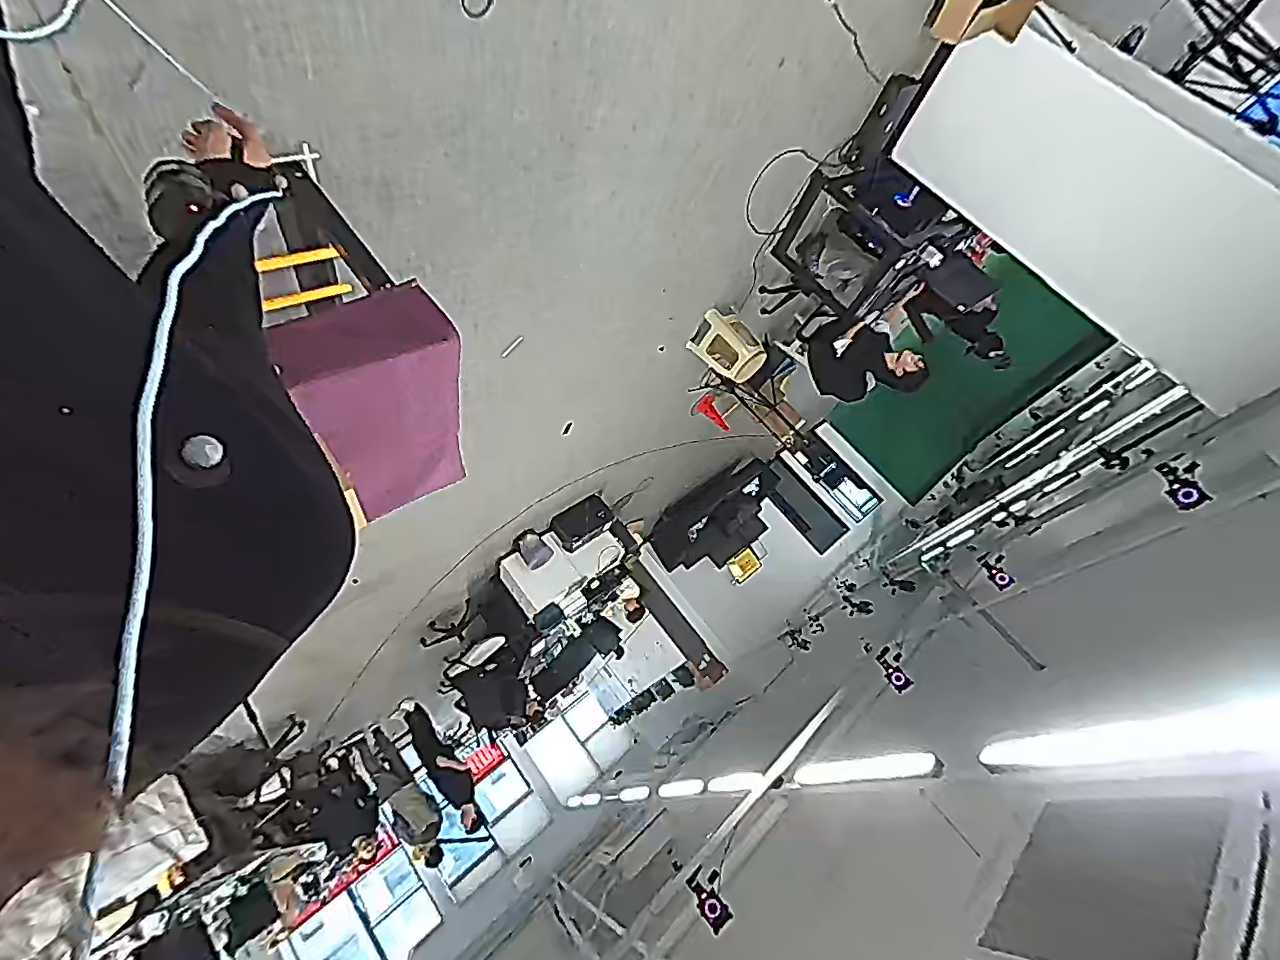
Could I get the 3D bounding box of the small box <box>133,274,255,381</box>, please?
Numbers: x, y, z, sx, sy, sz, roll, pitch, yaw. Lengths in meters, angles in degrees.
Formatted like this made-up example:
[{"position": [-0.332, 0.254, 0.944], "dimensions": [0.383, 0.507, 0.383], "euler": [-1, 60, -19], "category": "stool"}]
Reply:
[{"position": [-1.131, -0.387, 1.369], "dimensions": [0.179, 0.176, 0.168], "euler": [-31, 163, -29], "category": "small box"}]
